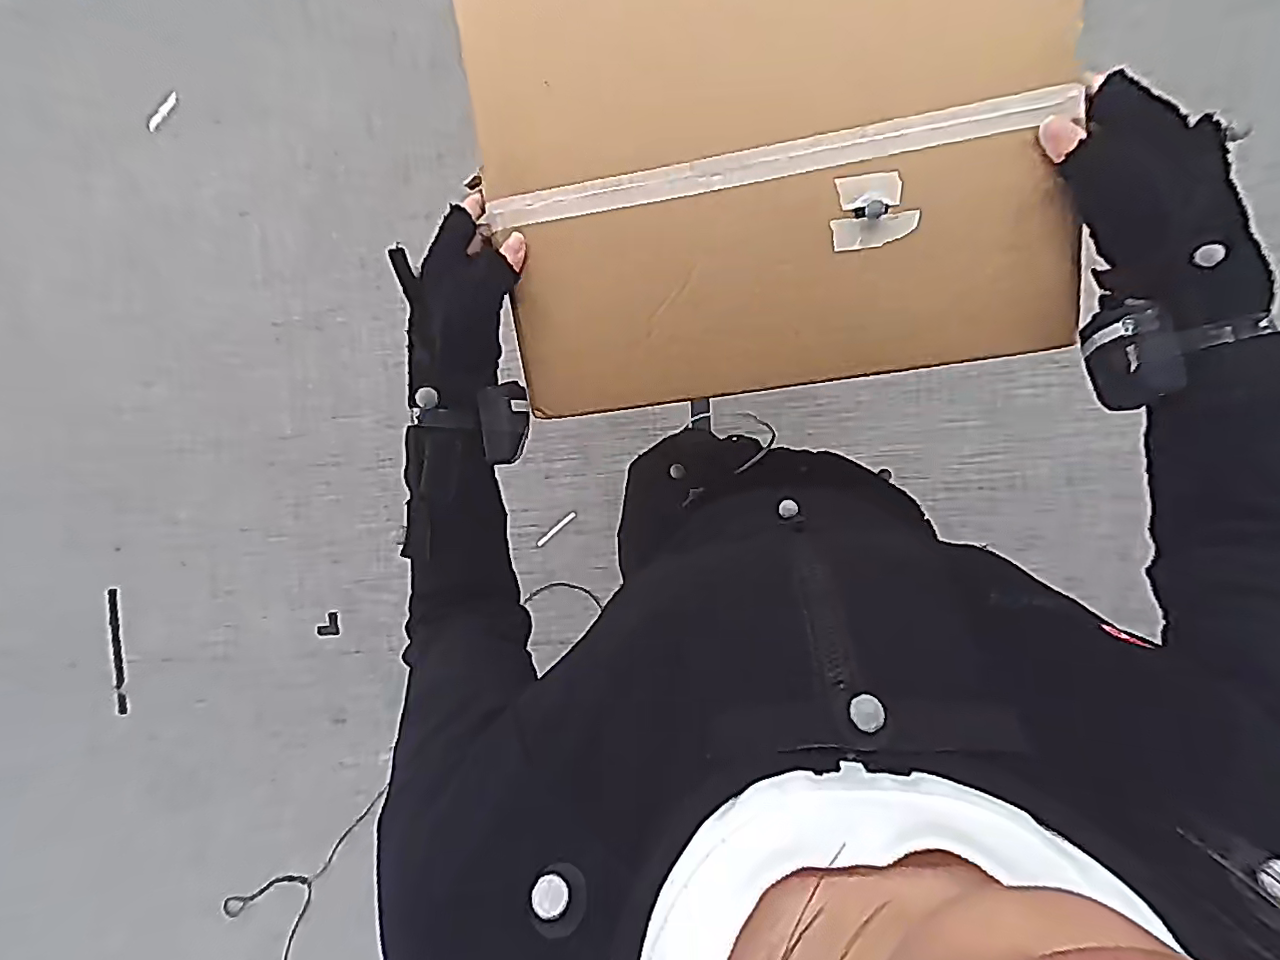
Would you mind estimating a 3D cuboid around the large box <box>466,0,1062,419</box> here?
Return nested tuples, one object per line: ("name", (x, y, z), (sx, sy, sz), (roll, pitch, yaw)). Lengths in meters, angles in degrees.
("large box", (0.103, -0.258, 0.538), (0.408, 0.320, 0.320), (-8, 103, 7))
